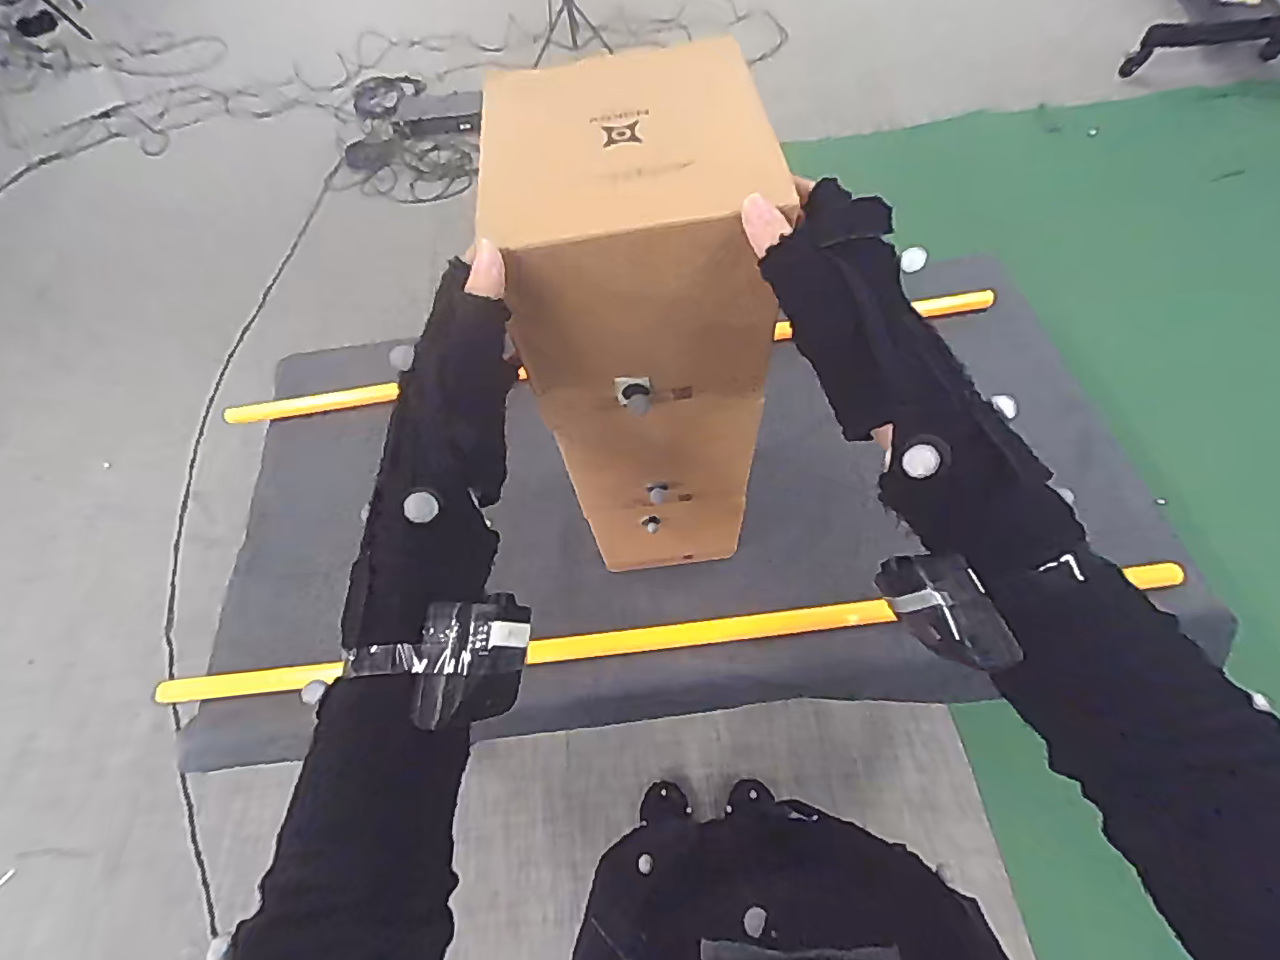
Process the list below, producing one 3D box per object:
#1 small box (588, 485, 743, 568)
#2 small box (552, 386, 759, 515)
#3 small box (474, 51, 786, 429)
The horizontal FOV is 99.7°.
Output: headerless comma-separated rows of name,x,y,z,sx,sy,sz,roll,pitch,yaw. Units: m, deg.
small box,0.026,-0.007,0.675,0.168,0.176,0.179,-8,60,2
small box,0.010,-0.085,0.531,0.168,0.176,0.179,-8,61,1
small box,-0.006,-0.161,0.388,0.168,0.176,0.179,-8,61,2
